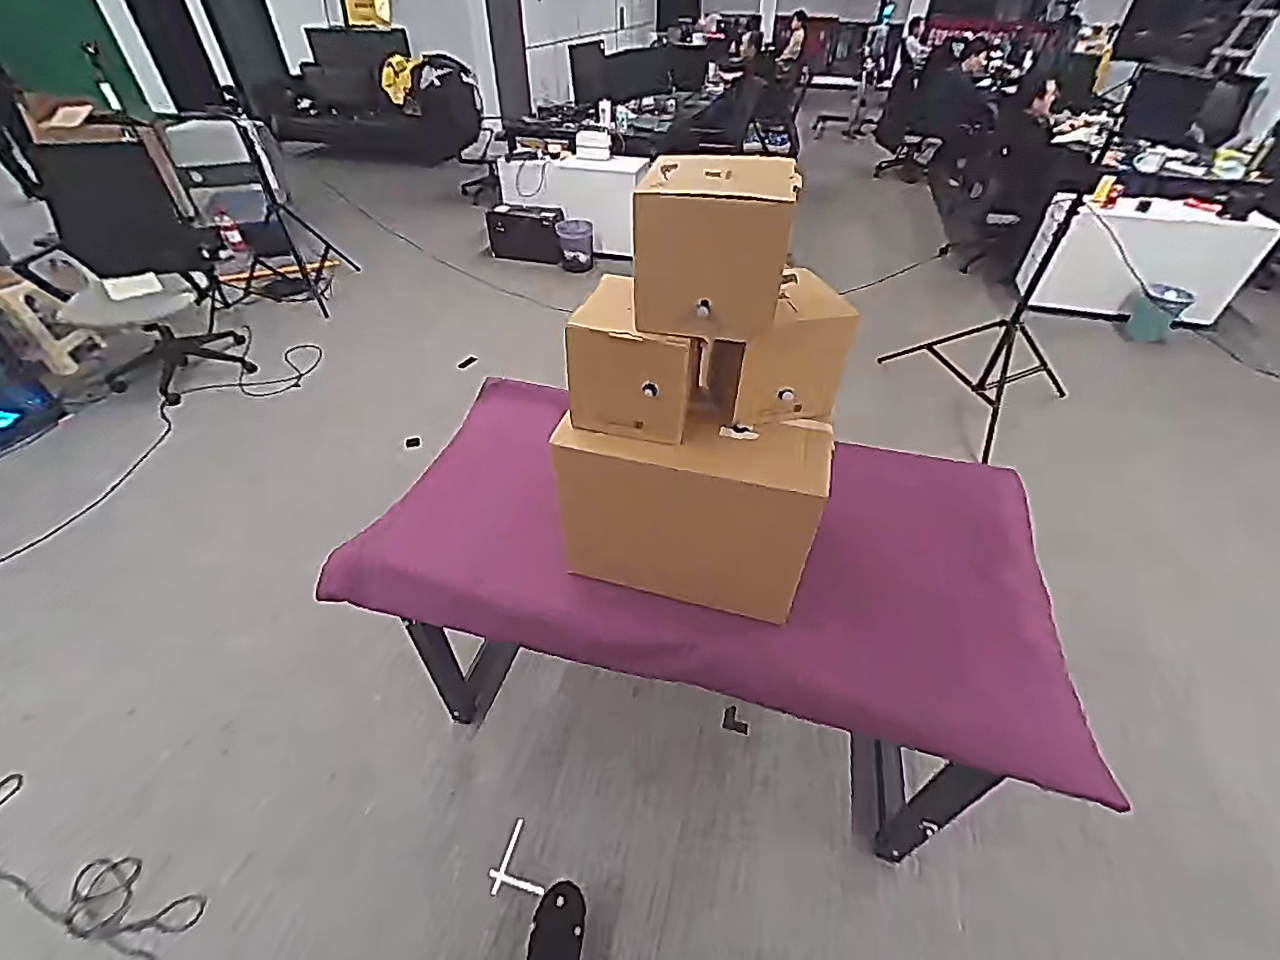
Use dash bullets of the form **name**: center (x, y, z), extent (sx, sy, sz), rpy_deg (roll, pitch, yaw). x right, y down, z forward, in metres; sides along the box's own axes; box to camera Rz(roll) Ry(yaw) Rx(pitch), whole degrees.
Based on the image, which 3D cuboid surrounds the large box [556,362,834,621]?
- **large box**: center (0.099, 0.002, 0.961), extent (0.408, 0.320, 0.320), rpy_deg (11, 45, 10)

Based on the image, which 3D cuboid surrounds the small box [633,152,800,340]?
- **small box**: center (0.094, -0.293, 0.679), extent (0.179, 0.176, 0.168), rpy_deg (8, 43, 9)

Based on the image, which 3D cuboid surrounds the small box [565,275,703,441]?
- **small box**: center (0.000, -0.179, 0.797), extent (0.168, 0.176, 0.179), rpy_deg (11, 42, 9)
